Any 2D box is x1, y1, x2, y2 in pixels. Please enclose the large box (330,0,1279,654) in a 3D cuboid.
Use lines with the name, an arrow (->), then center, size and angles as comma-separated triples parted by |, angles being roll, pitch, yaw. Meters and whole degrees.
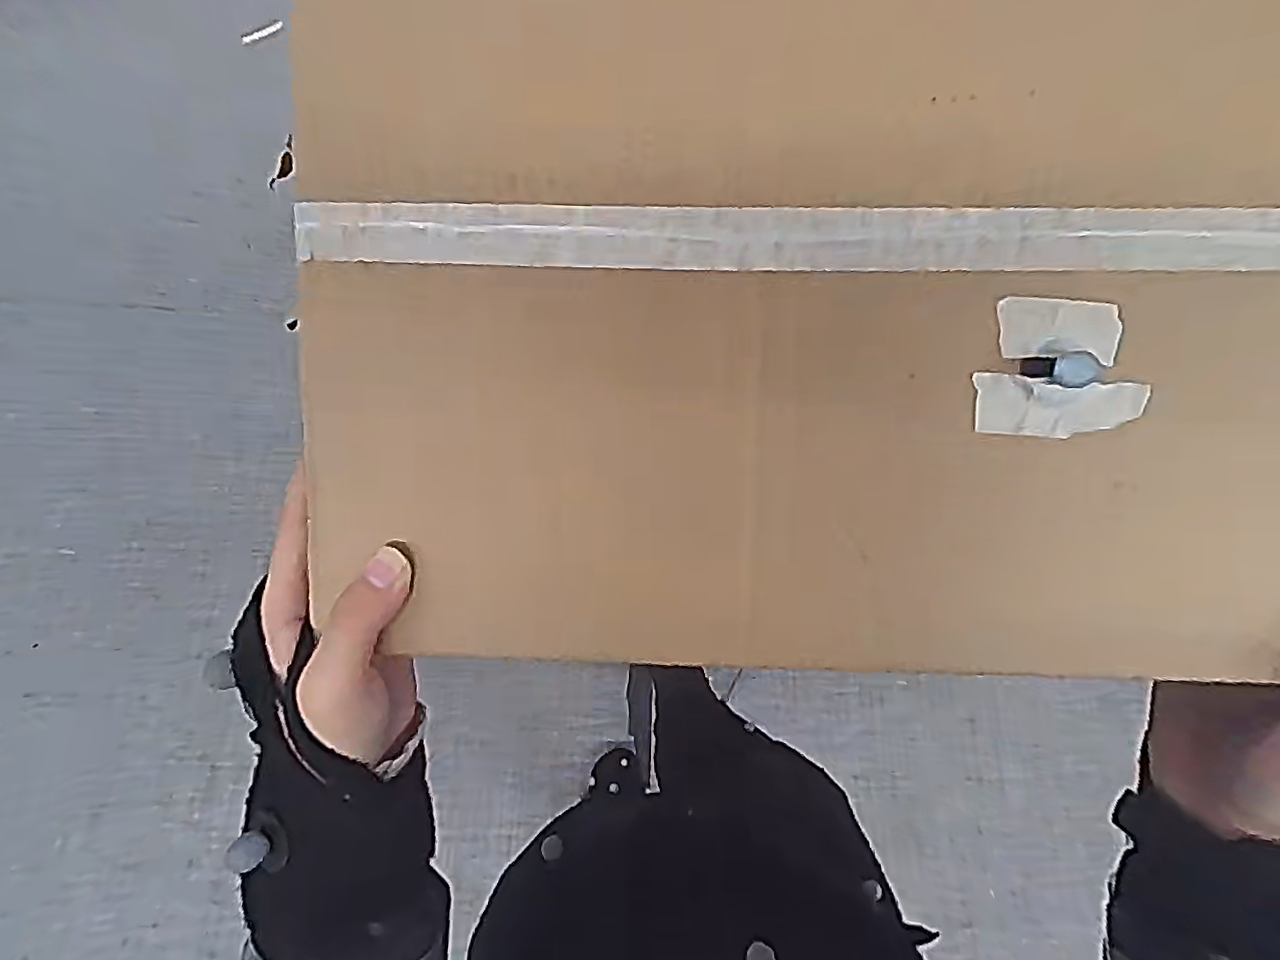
large box -> 0.081, -0.093, 0.354 | 0.408, 0.320, 0.320 | 1, 94, 0
